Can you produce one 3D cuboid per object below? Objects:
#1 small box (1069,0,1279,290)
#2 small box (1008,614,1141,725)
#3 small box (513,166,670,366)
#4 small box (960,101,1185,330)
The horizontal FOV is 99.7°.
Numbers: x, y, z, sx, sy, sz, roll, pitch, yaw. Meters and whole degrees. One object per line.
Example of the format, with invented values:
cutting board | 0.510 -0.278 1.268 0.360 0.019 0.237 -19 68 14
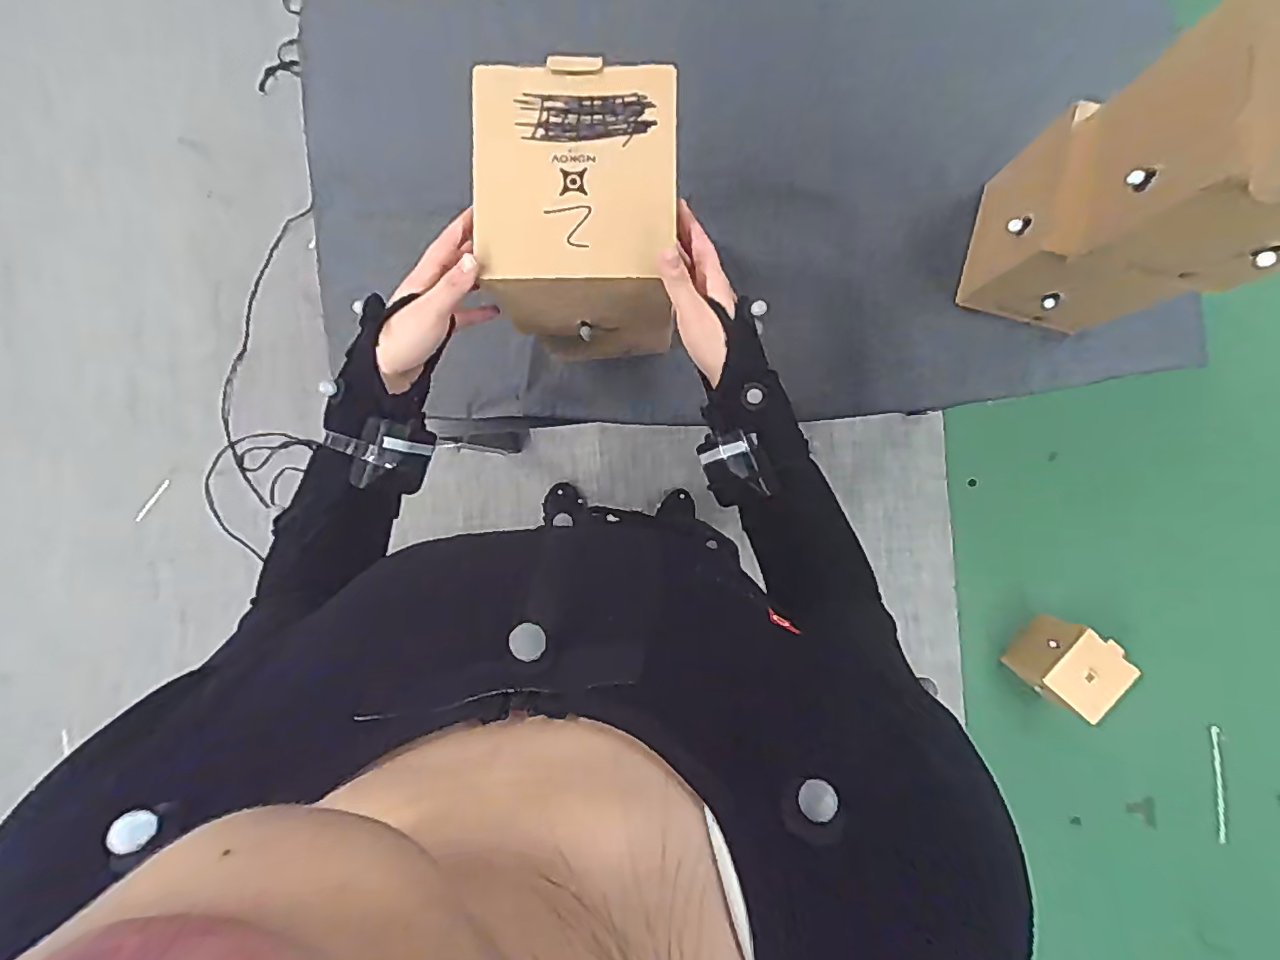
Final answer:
small box | 0.541 -0.295 0.493 0.168 0.176 0.179 10 88 1
small box | 1.090 0.474 1.380 0.168 0.176 0.179 41 91 1
small box | -0.054 -0.254 0.677 0.168 0.176 0.179 -5 89 1
small box | 0.526 -0.302 0.656 0.168 0.176 0.179 15 88 1
